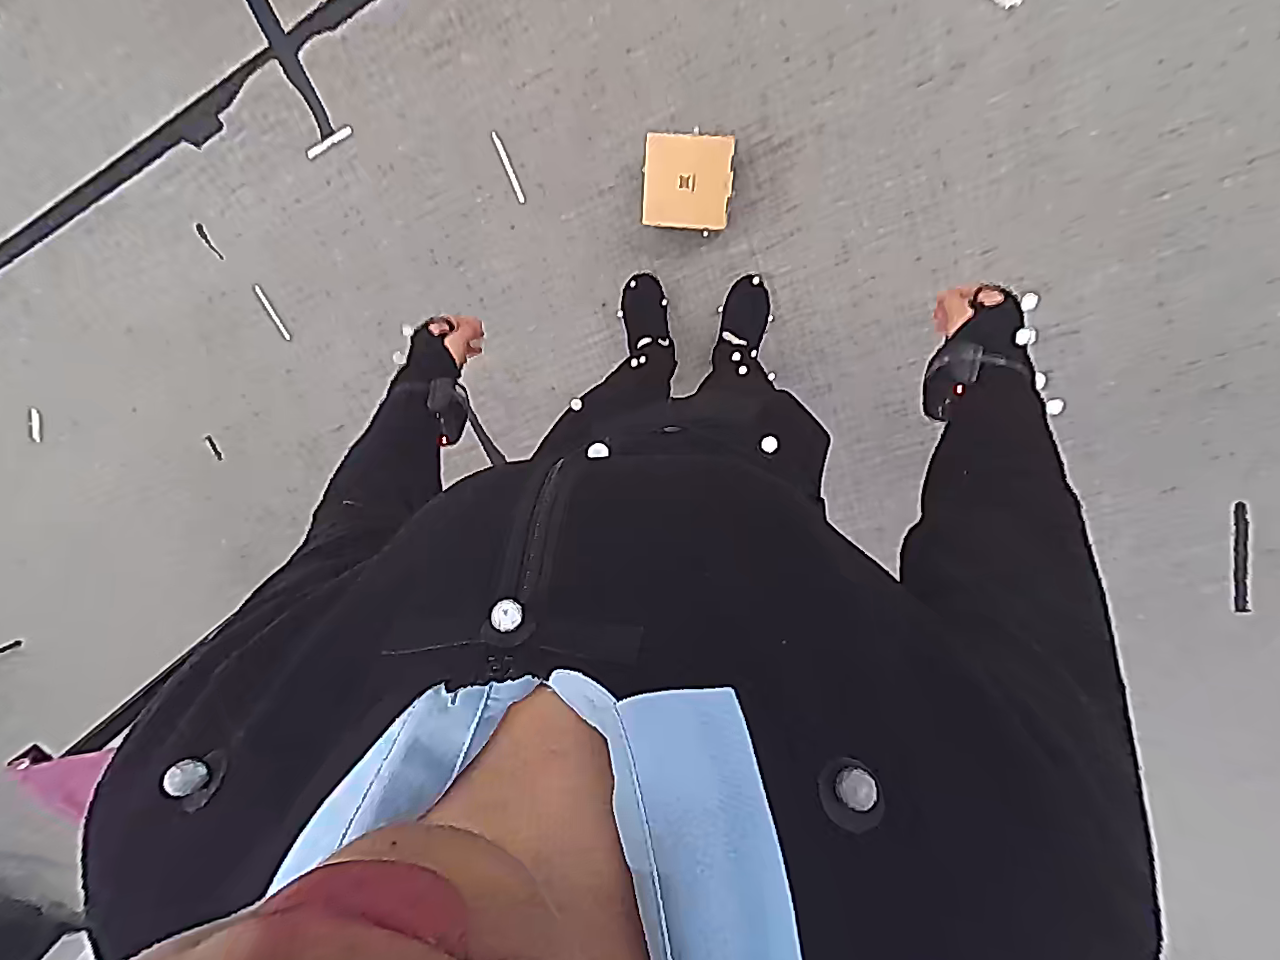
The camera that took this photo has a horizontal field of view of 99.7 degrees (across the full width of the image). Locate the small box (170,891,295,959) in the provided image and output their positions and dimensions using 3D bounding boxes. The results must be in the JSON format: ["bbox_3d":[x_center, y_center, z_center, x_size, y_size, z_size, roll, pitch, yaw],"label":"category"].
[{"bbox_3d":[-1.056,1.219,1.413,0.168,0.176,0.179,-10,114,13],"label":"small box"}]

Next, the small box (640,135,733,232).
[{"bbox_3d":[0.102,-0.628,1.159,0.179,0.176,0.168,6,116,5],"label":"small box"}]
